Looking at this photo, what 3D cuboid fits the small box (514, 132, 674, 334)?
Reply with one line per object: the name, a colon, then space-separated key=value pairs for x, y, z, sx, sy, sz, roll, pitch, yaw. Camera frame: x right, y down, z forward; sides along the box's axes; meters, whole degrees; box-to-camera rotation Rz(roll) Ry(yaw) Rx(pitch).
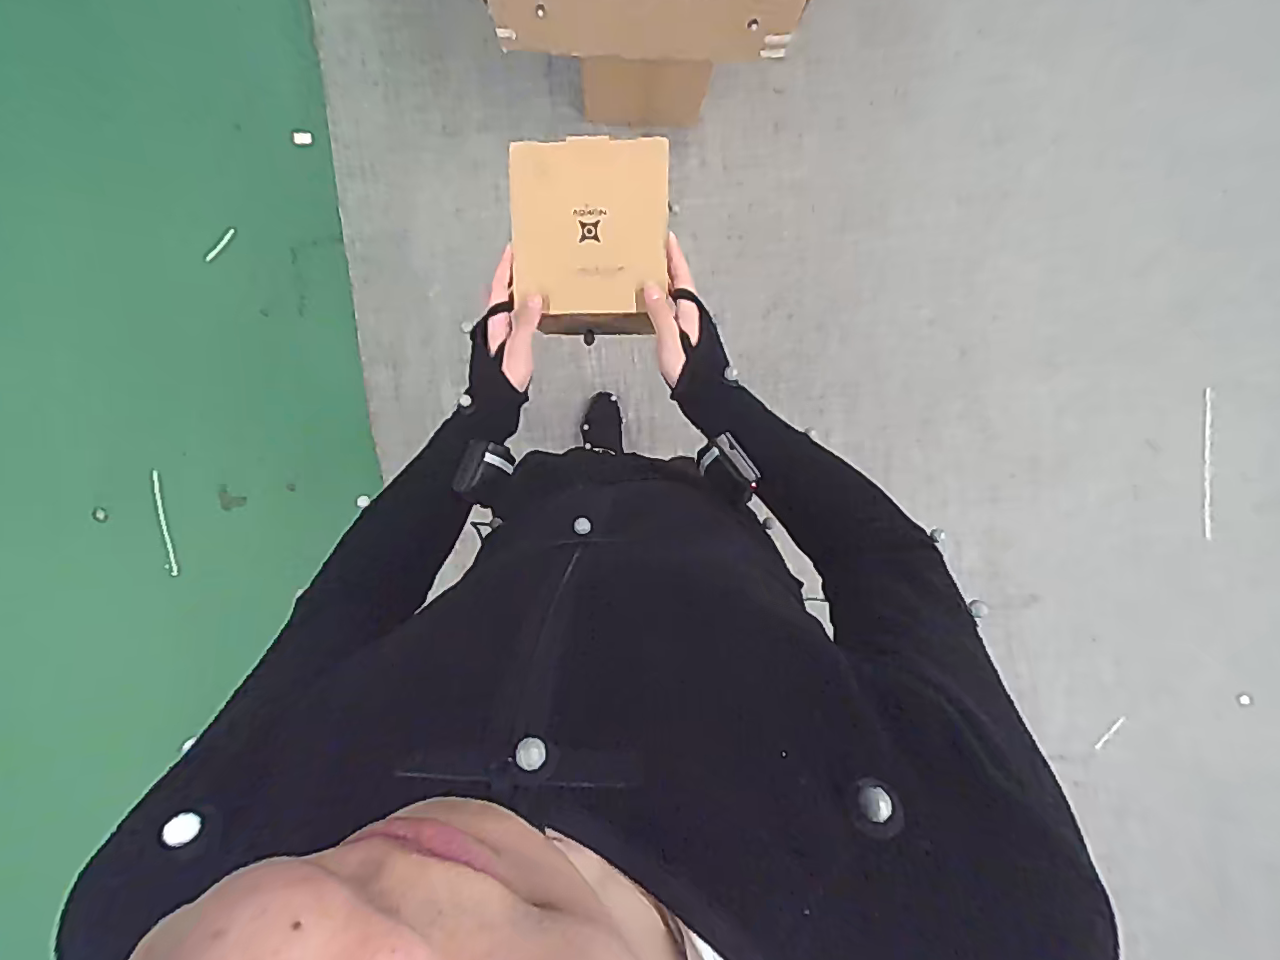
small box: x=-0.047 y=-0.276 z=0.637 sx=0.168 sy=0.176 sz=0.179 roll=1 pitch=97 yaw=2
